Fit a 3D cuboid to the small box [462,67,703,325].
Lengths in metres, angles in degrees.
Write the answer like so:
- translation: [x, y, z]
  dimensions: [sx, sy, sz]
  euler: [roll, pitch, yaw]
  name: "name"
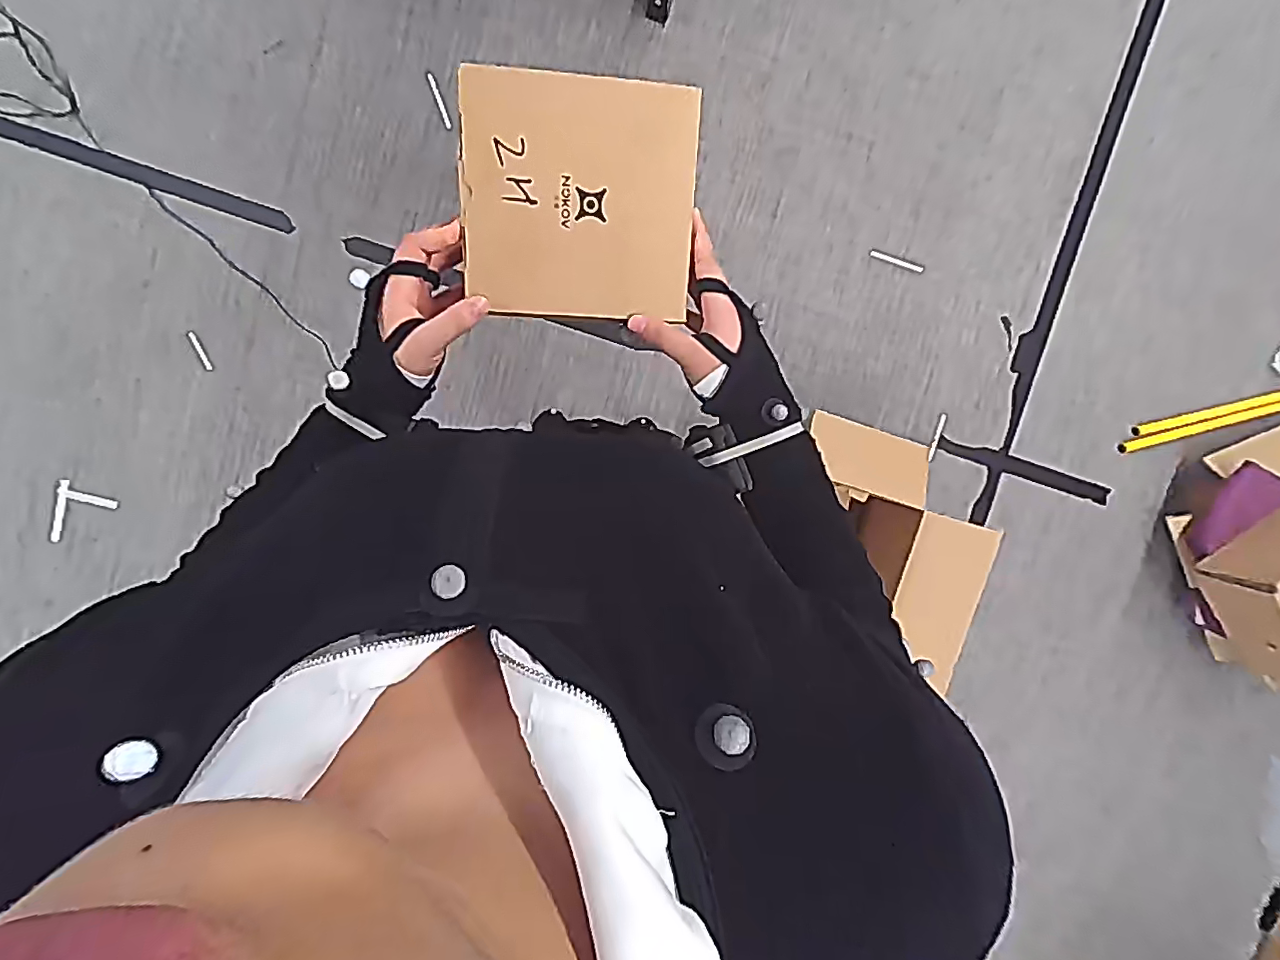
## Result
- translation: [-0.052, -0.230, 0.485]
  dimensions: [0.179, 0.176, 0.168]
  euler: [2, 105, -5]
  name: "small box"
